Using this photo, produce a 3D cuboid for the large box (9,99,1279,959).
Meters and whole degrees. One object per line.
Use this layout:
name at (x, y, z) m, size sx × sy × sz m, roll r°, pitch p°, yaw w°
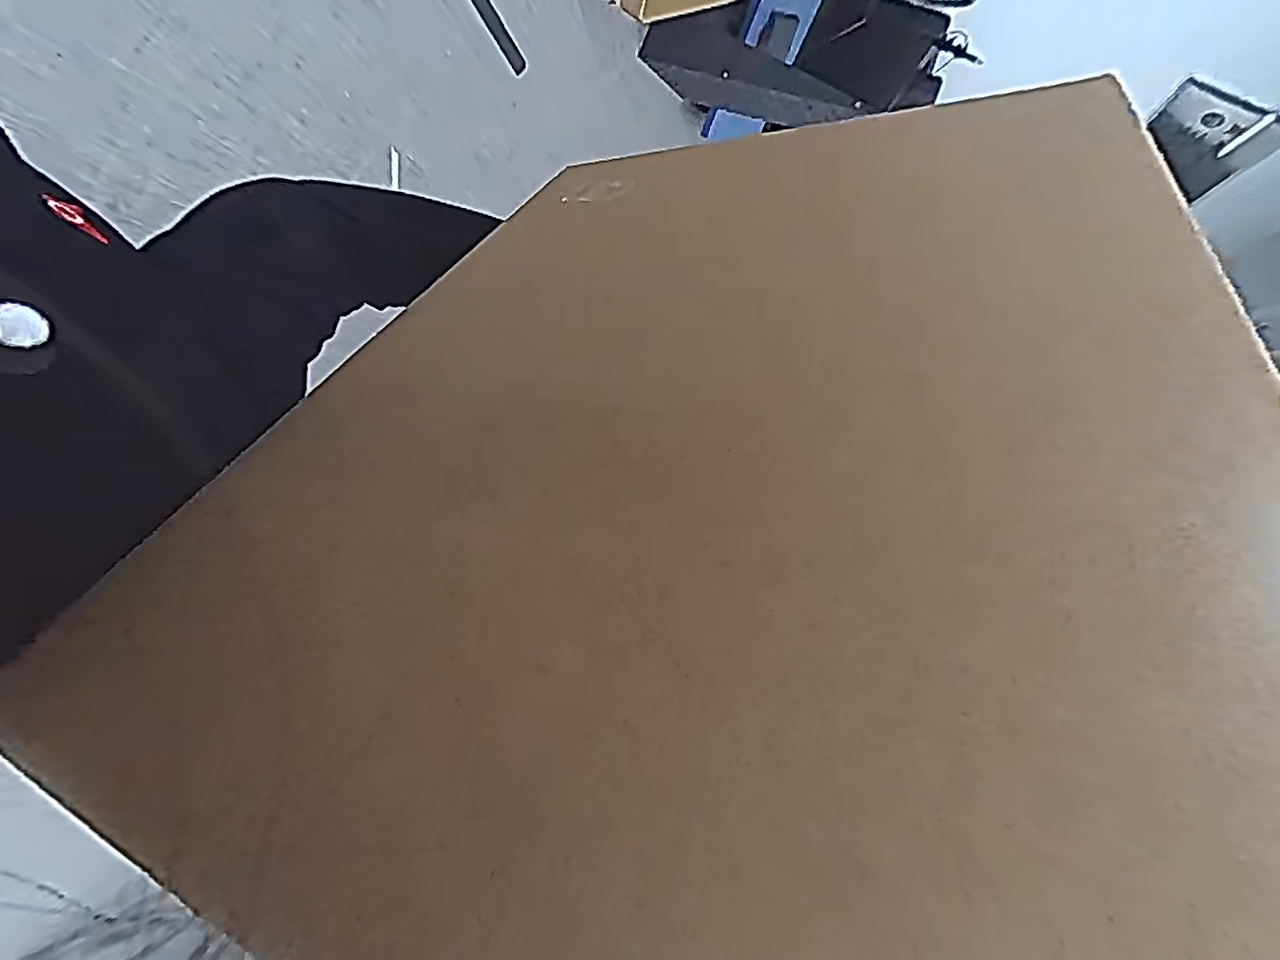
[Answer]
large box at (0.050, 0.035, 0.316) m, size 0.320 × 0.320 × 0.408 m, roll 72°, pitch 35°, yaw -44°
